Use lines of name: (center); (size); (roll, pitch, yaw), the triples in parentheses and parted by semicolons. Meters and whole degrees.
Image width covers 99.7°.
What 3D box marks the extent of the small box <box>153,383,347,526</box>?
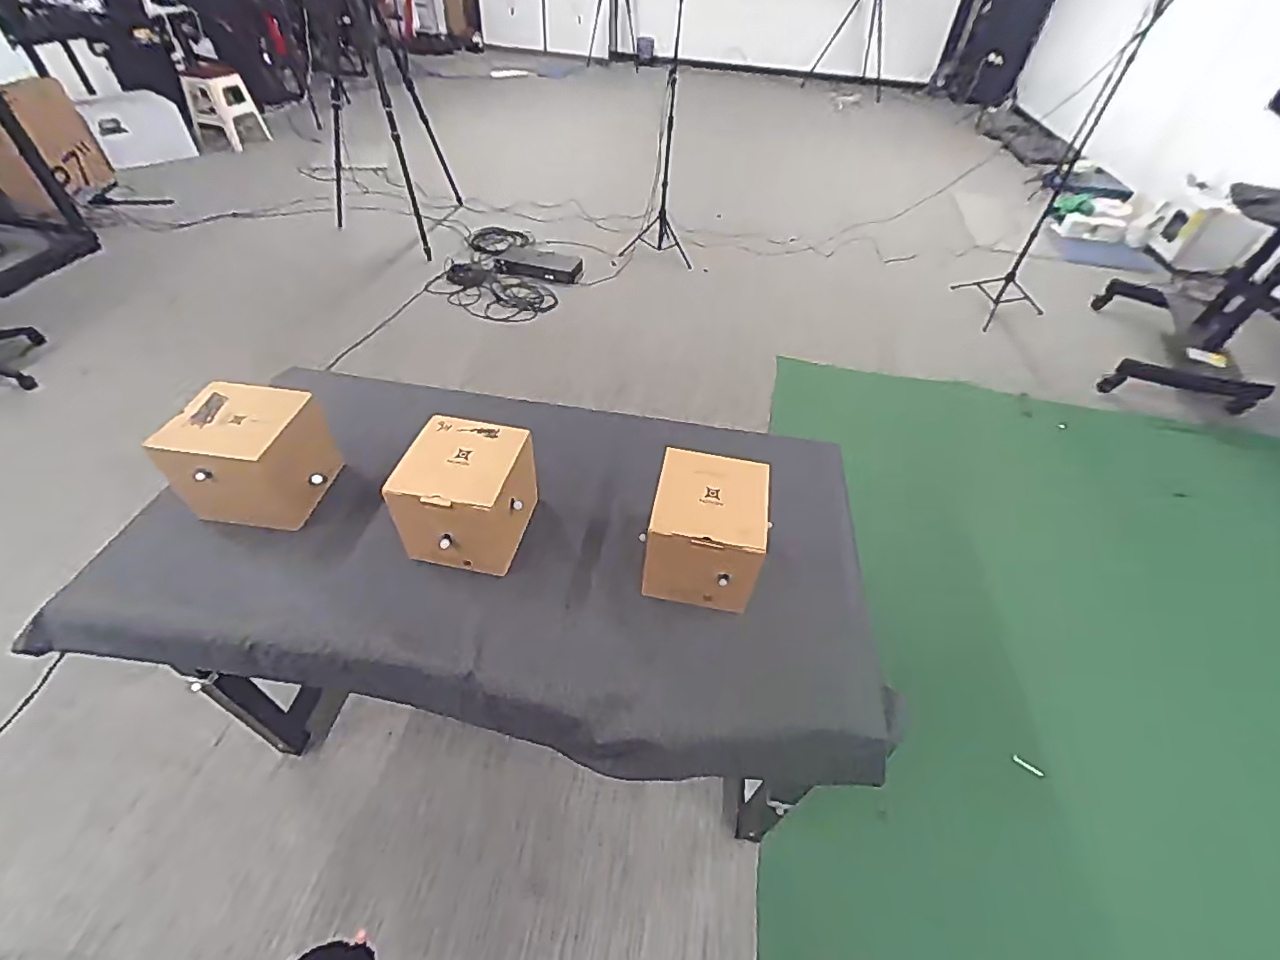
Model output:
small box: (-0.635, -0.040, 0.910); (0.179, 0.176, 0.168); (7, 46, 1)

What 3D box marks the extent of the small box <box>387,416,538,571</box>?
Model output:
small box: (-0.272, 0.025, 0.880); (0.168, 0.176, 0.179); (10, 47, 5)

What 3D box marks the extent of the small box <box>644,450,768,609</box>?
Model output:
small box: (0.102, 0.080, 0.859); (0.168, 0.176, 0.179); (10, 45, 4)
